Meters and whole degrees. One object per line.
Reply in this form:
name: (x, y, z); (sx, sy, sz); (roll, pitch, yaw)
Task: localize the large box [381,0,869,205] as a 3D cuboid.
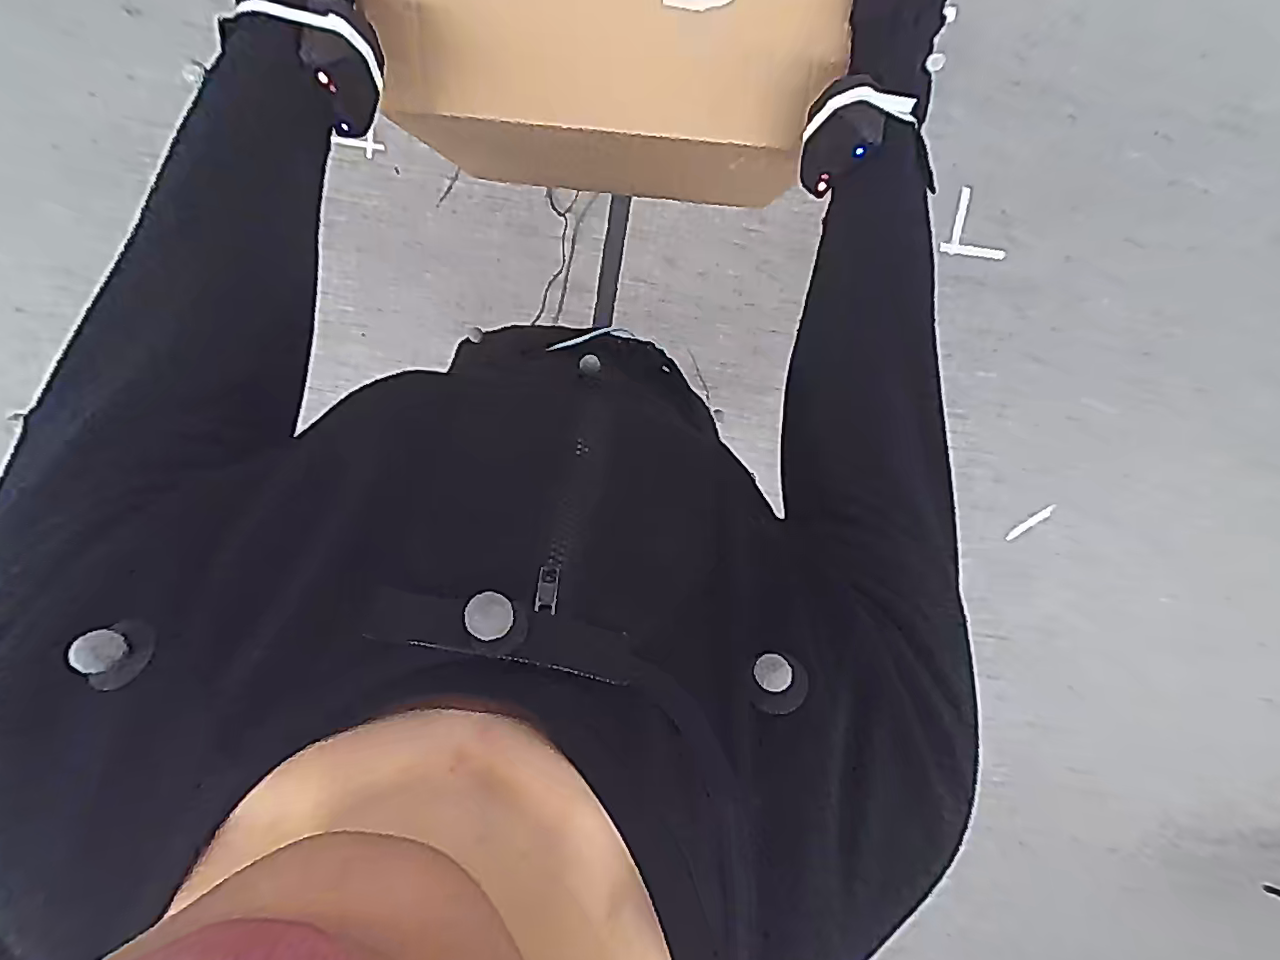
large box: (-0.008, -0.493, 0.561); (0.408, 0.320, 0.320); (5, 110, -2)
